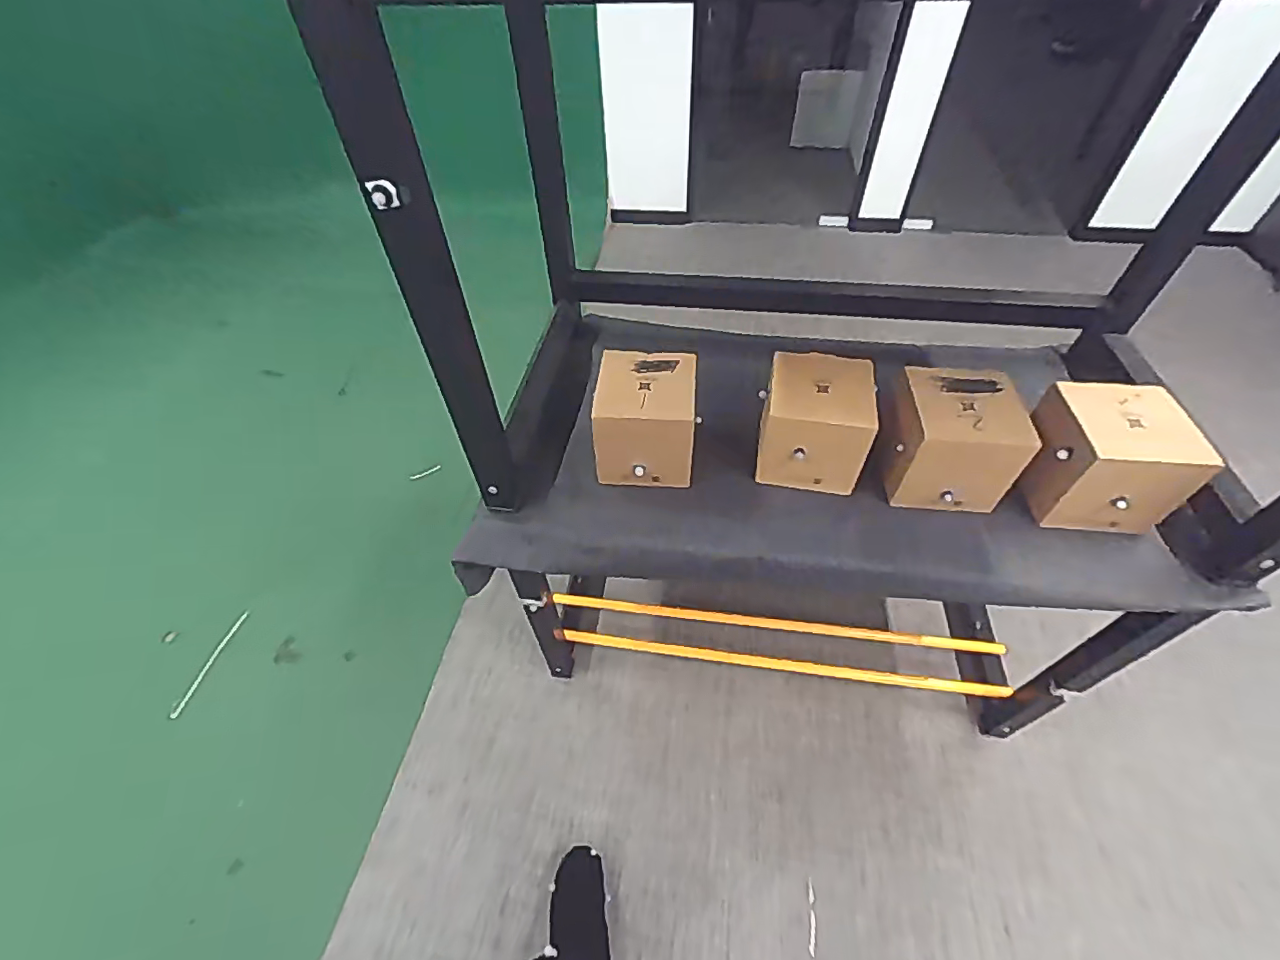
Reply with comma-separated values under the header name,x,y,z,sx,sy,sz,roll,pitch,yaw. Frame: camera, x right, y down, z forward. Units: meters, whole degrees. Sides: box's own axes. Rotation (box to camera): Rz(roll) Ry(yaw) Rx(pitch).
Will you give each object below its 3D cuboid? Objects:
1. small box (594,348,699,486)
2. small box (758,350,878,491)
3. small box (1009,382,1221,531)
name,x,y,z,sx,sy,sz,roll,pitch,yaw
small box,0.016,-0.111,0.962,0.168,0.176,0.179,3,51,4
small box,0.304,-0.101,0.948,0.168,0.176,0.179,8,50,9
small box,0.742,-0.036,0.873,0.168,0.176,0.179,4,49,5
